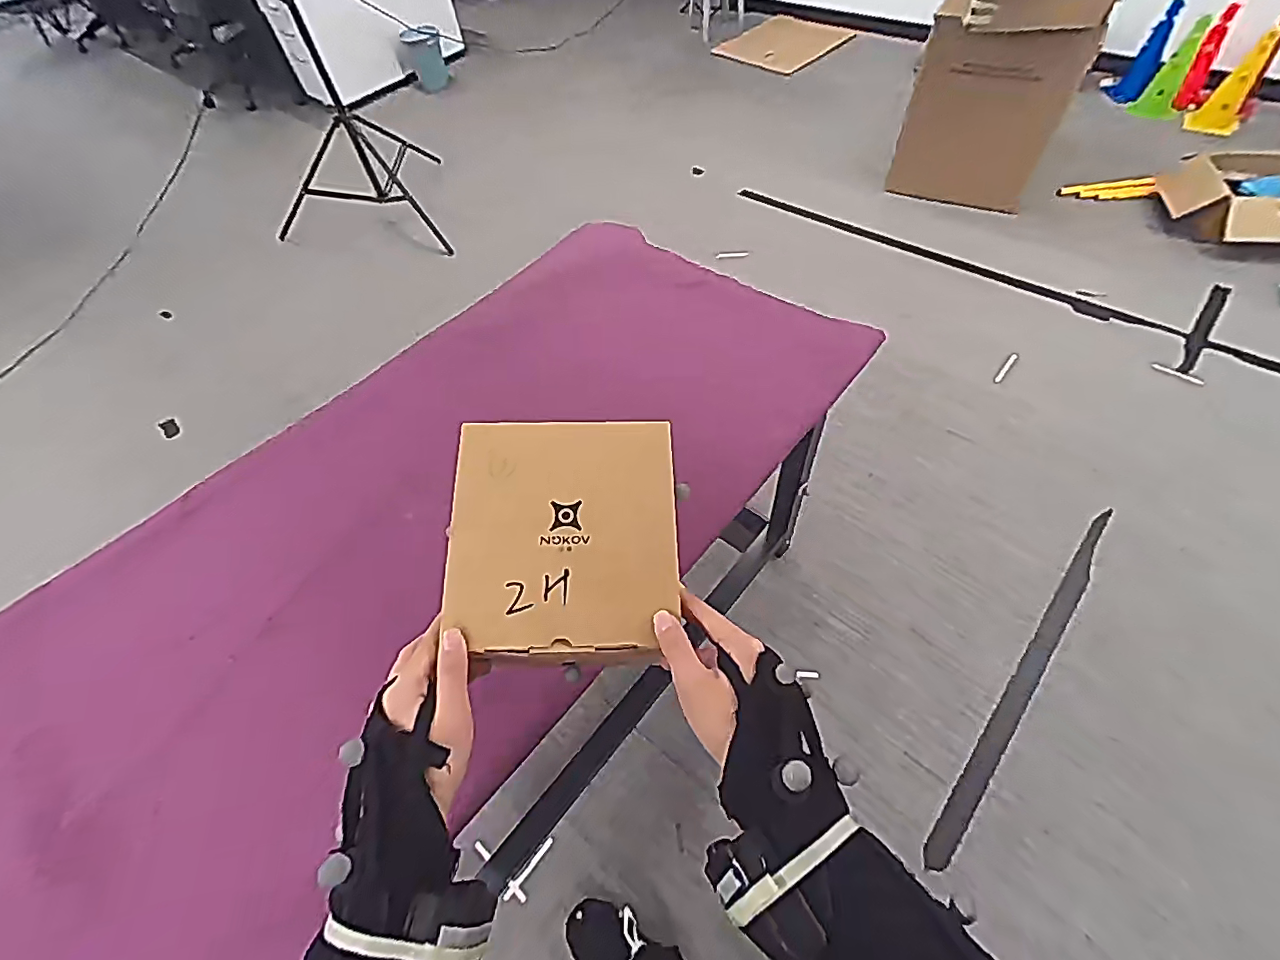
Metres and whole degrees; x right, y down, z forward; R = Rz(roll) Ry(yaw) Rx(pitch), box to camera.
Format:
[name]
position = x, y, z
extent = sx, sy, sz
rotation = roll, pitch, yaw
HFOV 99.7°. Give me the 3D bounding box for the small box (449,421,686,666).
[small box]
position = -0.054, 0.064, 0.476
extent = 0.168, 0.176, 0.179
rotation = -1, 67, -2
